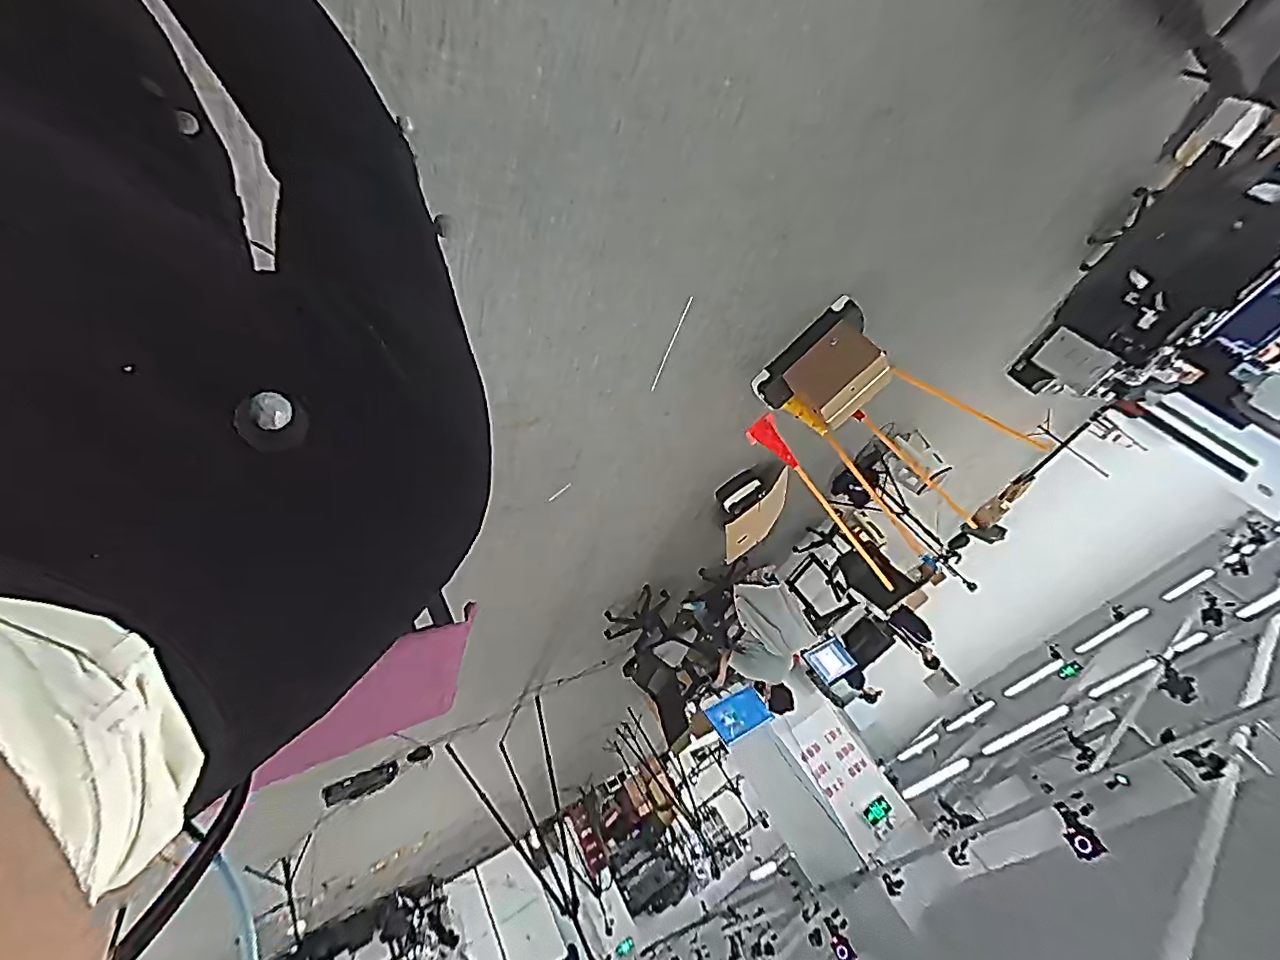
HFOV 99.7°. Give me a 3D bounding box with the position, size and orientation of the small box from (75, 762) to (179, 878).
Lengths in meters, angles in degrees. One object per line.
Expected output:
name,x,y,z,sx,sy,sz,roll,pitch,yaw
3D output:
small box,-1.271,0.839,1.346,0.168,0.176,0.179,-10,140,-39
